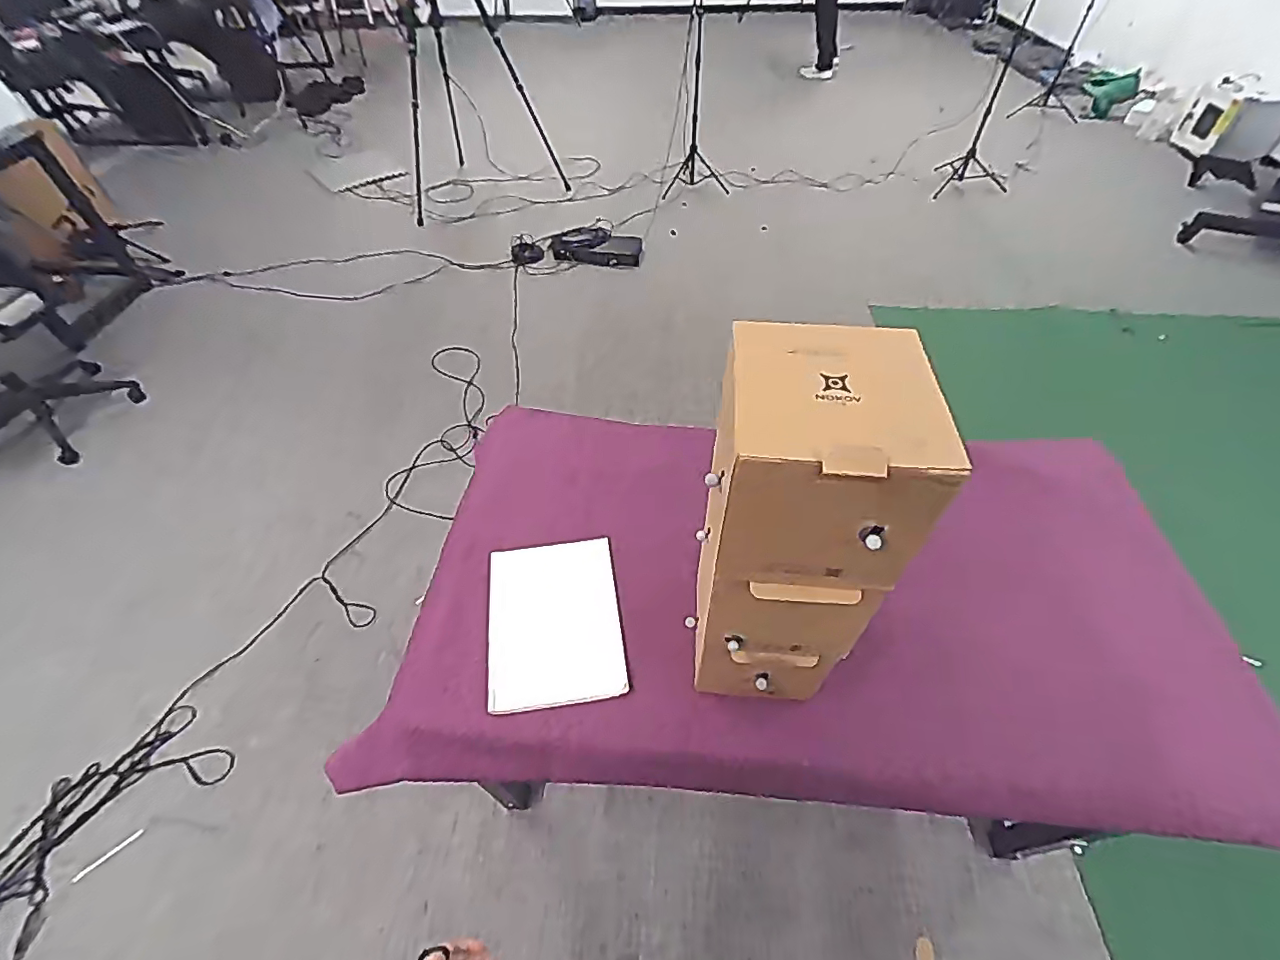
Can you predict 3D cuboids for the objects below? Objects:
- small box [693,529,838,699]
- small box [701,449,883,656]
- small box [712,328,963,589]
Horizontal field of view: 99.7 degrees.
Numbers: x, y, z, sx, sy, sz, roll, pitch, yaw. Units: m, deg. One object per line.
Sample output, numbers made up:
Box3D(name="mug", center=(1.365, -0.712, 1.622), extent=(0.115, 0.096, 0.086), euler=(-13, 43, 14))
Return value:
Box3D(name="small box", center=(0.164, 0.189, 0.755), extent=(0.168, 0.176, 0.179), euler=(4, 50, 4))
Box3D(name="small box", center=(0.161, 0.086, 0.626), extent=(0.168, 0.176, 0.179), euler=(4, 48, 4))
Box3D(name="small box", center=(0.159, -0.017, 0.500), extent=(0.168, 0.176, 0.179), euler=(5, 49, 4))
